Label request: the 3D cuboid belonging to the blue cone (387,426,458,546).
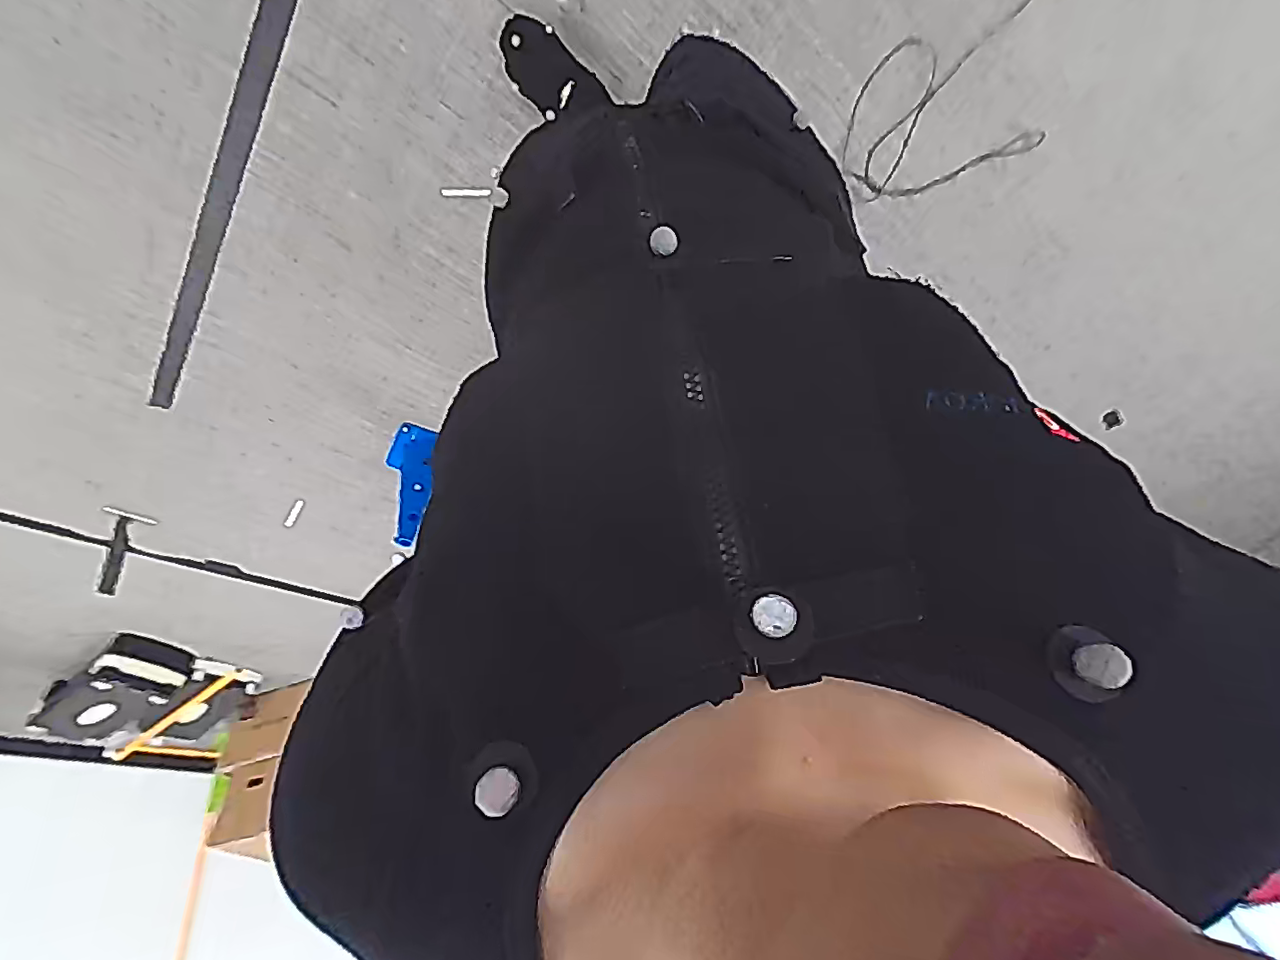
[{"bbox_3d":[-0.665,0.037,1.583,0.192,0.380,0.193,21,128,-27],"label":"blue cone"}]
